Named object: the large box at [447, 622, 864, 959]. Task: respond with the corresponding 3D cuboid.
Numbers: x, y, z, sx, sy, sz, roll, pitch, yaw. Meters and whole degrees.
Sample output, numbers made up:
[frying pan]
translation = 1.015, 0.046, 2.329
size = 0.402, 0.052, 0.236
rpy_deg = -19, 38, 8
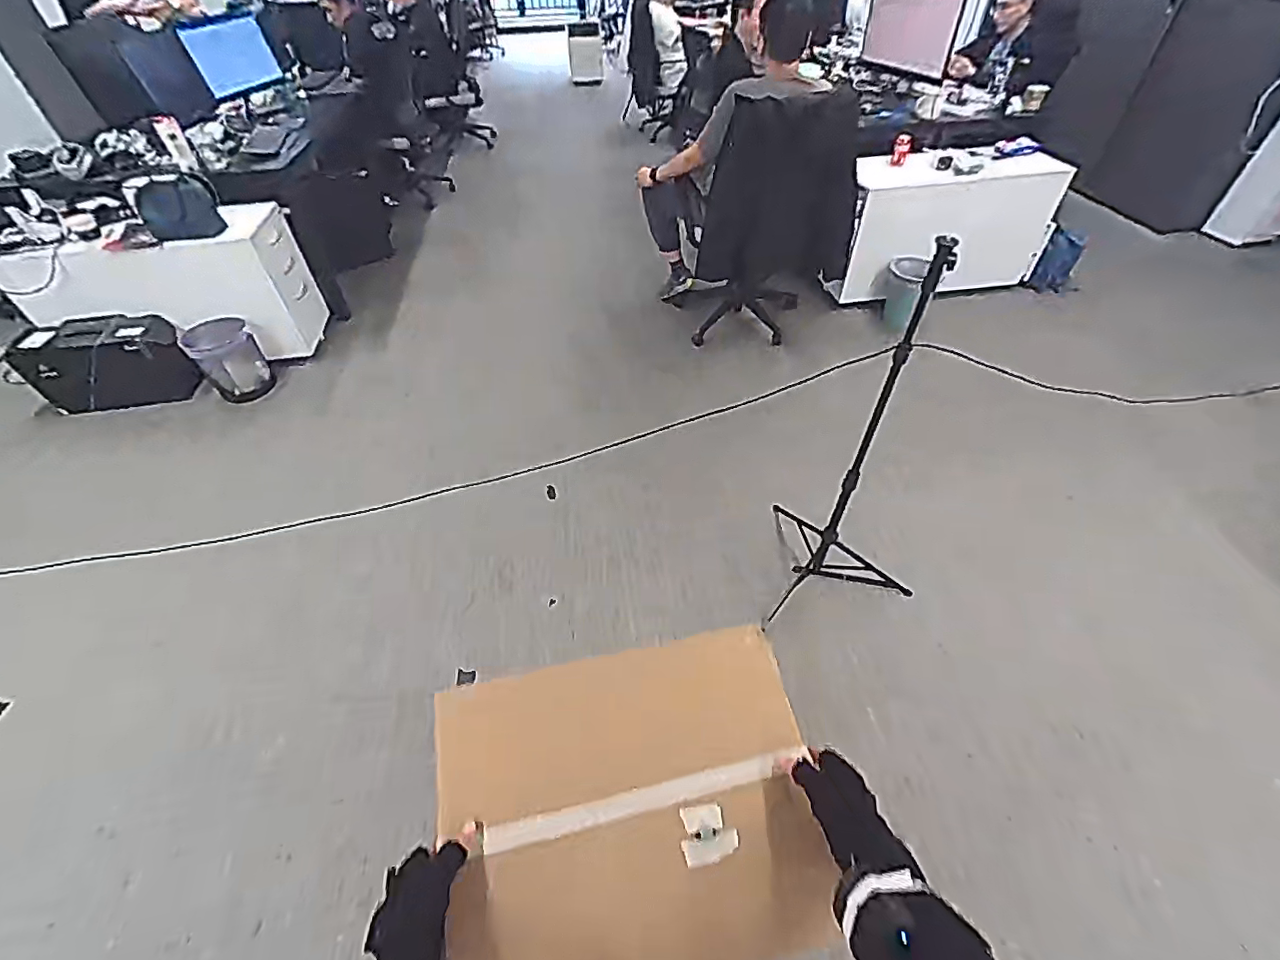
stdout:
[large box]
translation = -0.009, 0.424, 0.708
size = 0.408, 0.320, 0.320
rpy_deg = -9, 57, -10
